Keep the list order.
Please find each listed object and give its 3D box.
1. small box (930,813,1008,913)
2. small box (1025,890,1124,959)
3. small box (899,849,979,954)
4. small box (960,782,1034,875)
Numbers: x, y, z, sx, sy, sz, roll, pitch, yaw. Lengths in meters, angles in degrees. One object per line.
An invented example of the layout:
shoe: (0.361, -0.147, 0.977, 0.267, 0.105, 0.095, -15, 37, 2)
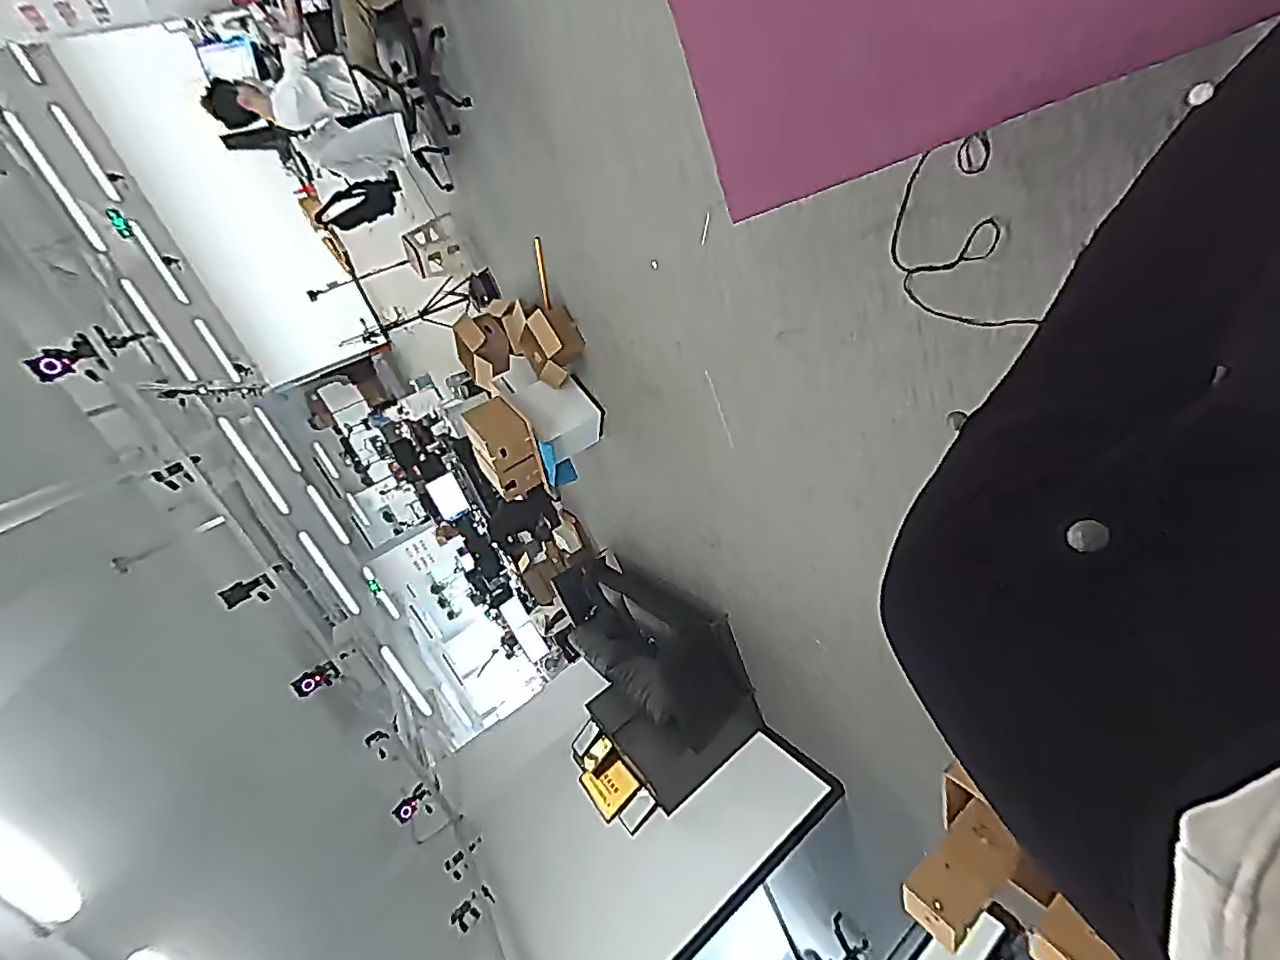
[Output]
small box: (1.086, 1.260, 1.787, 0.168, 0.176, 0.179, 26, 141, 52)
small box: (1.248, 1.344, 1.557, 0.168, 0.176, 0.179, 28, 142, 52)
small box: (0.955, 1.338, 1.725, 0.168, 0.176, 0.179, 26, 141, 51)
small box: (1.216, 1.186, 1.850, 0.168, 0.176, 0.179, 28, 143, 52)
